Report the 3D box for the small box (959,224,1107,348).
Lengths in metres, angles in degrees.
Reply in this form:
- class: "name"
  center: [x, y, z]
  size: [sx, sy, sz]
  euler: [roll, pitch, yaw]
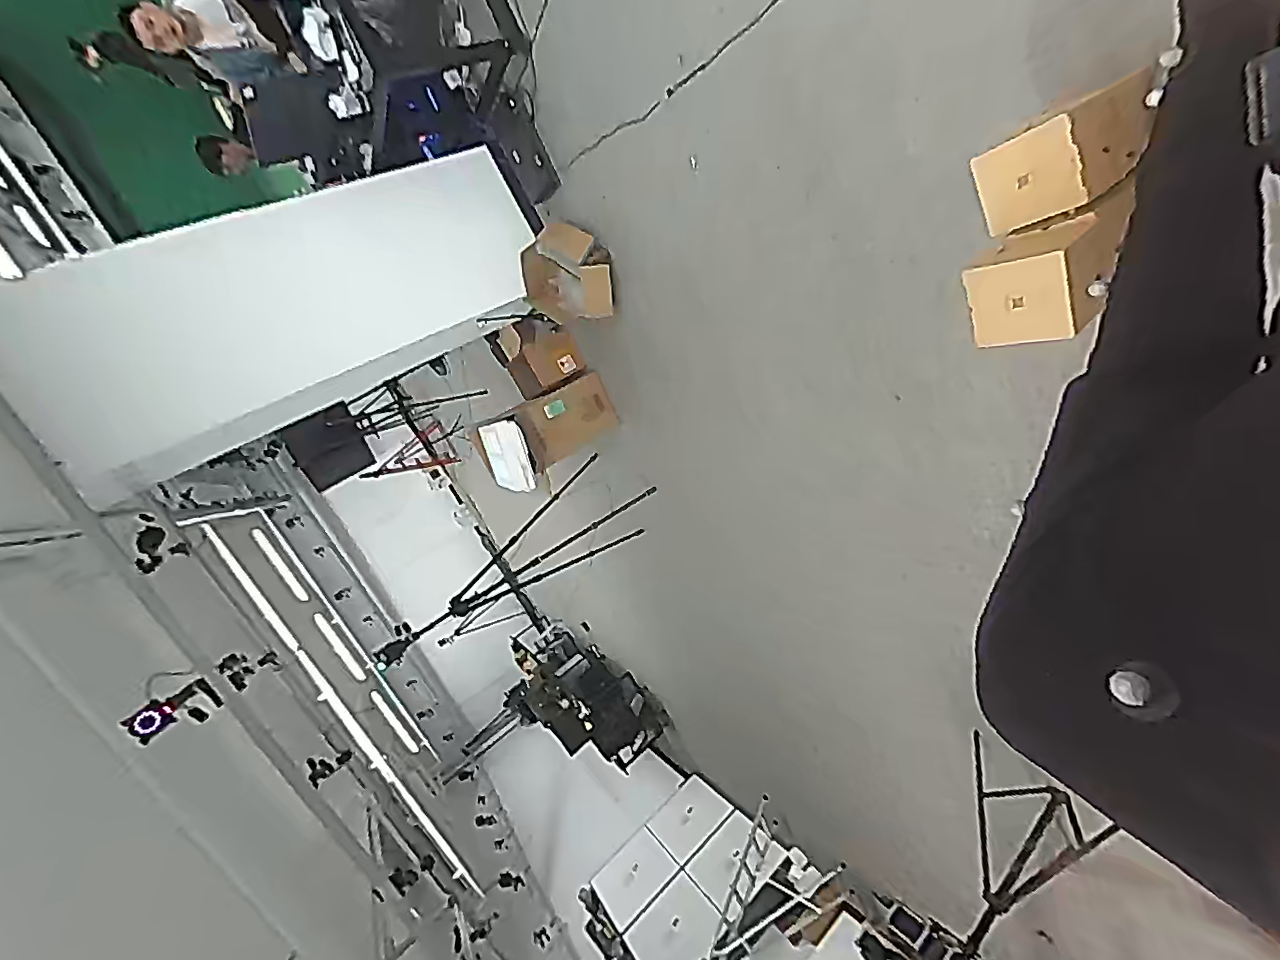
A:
- class: "small box"
  center: [0.769, -0.374, 1.059]
  size: [0.179, 0.176, 0.168]
  euler: [12, 132, 57]
